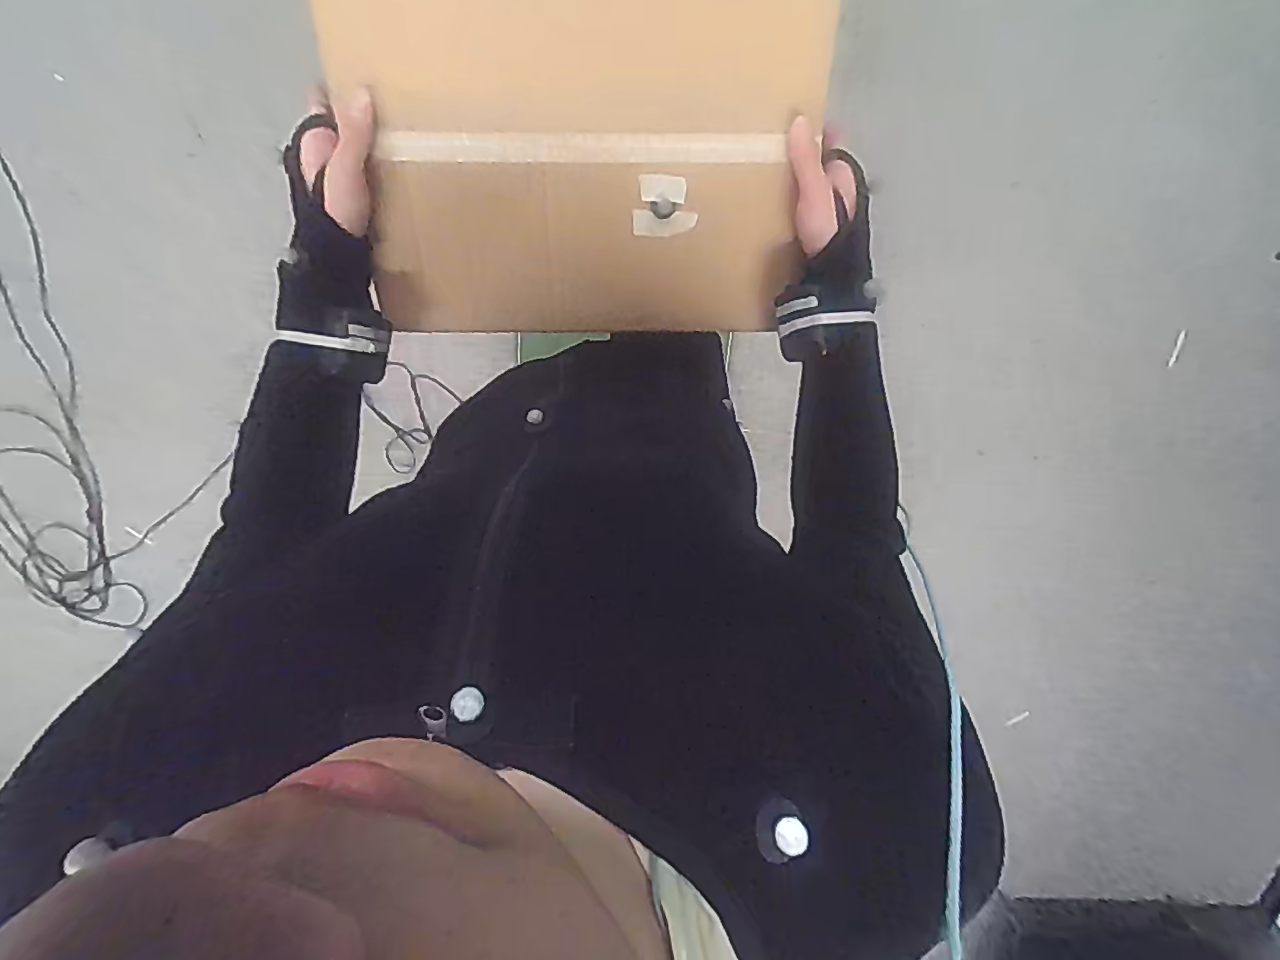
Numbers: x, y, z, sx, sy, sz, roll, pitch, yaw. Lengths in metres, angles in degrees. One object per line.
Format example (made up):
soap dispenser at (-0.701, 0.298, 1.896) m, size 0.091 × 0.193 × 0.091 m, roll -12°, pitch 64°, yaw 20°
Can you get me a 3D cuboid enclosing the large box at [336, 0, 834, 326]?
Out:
large box at (-0.049, -0.363, 0.605) m, size 0.408 × 0.320 × 0.320 m, roll -1°, pitch 118°, yaw -3°
